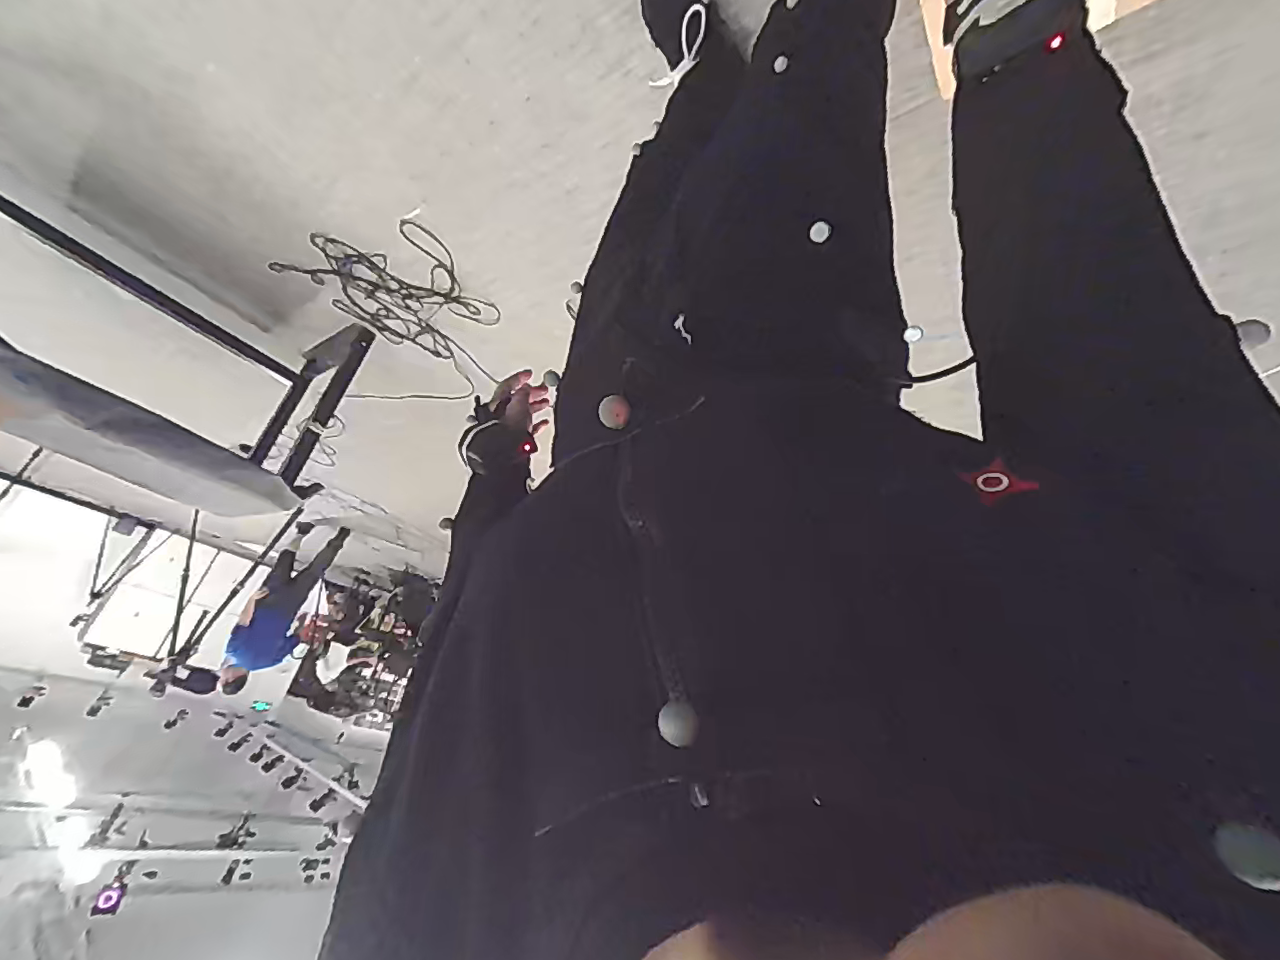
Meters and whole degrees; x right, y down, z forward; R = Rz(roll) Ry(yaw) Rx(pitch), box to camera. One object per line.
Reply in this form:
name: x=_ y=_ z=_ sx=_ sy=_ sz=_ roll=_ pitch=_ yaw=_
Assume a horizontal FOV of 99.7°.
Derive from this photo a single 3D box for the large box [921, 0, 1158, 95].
large box: x=0.419 y=-0.718 z=0.516 sx=0.320 sy=0.320 sz=0.408 roll=-6 pitch=149 yaw=39
